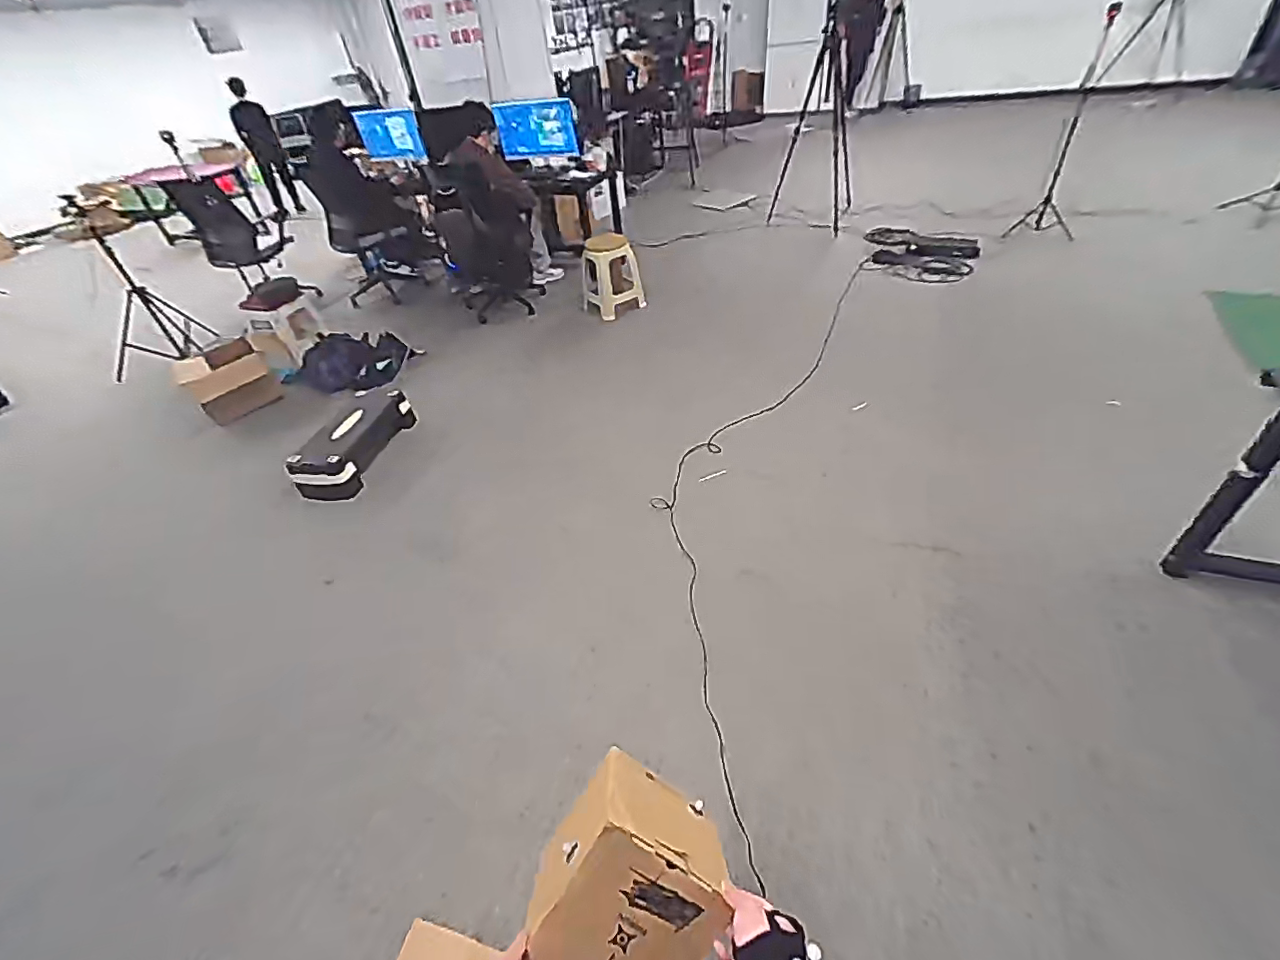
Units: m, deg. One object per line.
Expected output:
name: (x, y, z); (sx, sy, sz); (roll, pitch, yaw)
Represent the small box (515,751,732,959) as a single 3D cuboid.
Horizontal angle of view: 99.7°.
small box: (-0.019, 0.461, 0.633); (0.168, 0.176, 0.179); (32, 89, 0)
